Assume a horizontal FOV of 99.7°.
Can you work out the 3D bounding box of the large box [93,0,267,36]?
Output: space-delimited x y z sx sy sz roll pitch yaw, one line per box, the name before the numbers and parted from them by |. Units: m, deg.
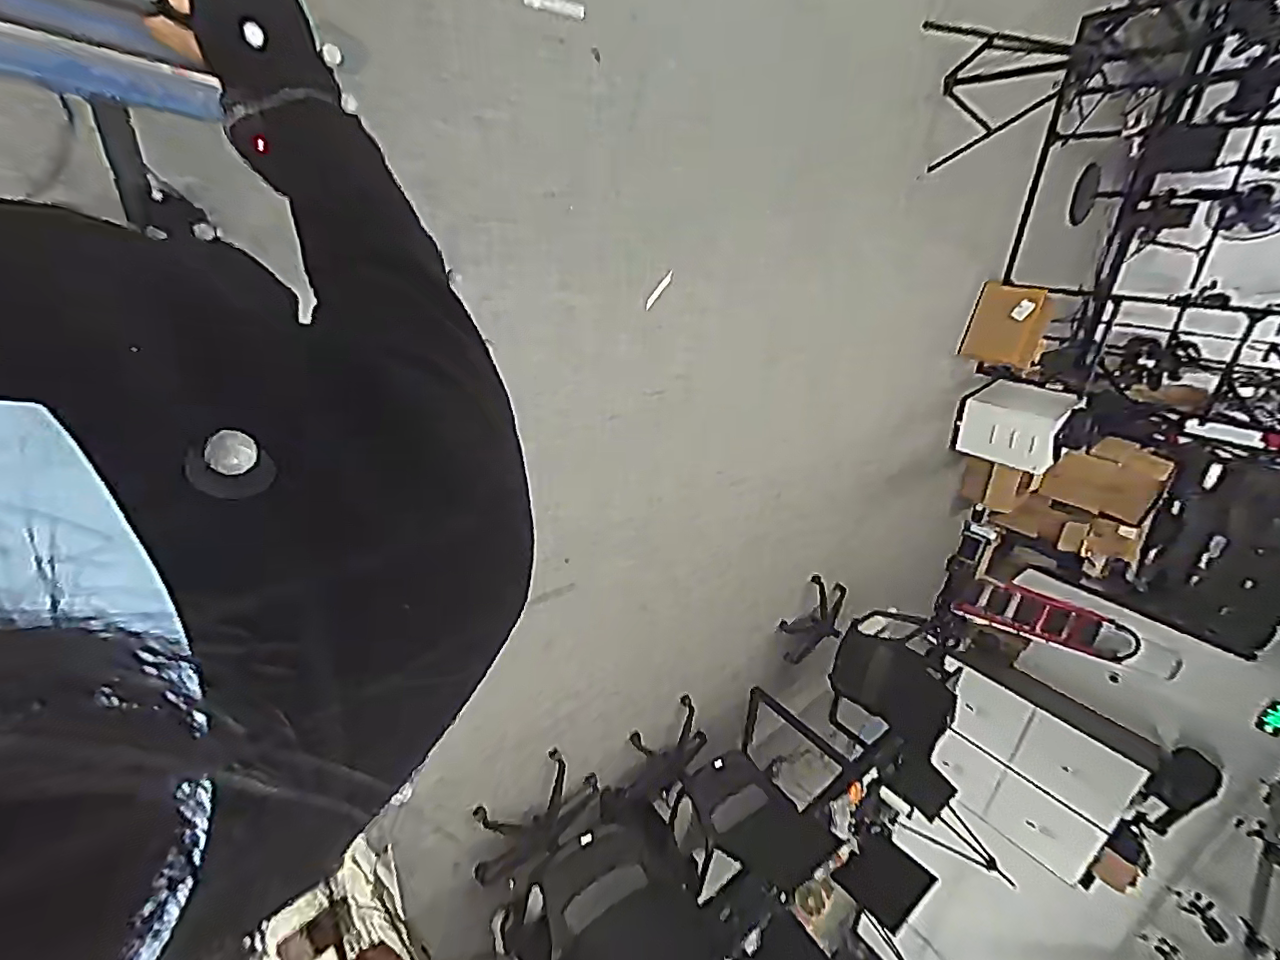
large box | -0.719 -0.801 0.641 0.408 0.320 0.320 -14 121 -38
